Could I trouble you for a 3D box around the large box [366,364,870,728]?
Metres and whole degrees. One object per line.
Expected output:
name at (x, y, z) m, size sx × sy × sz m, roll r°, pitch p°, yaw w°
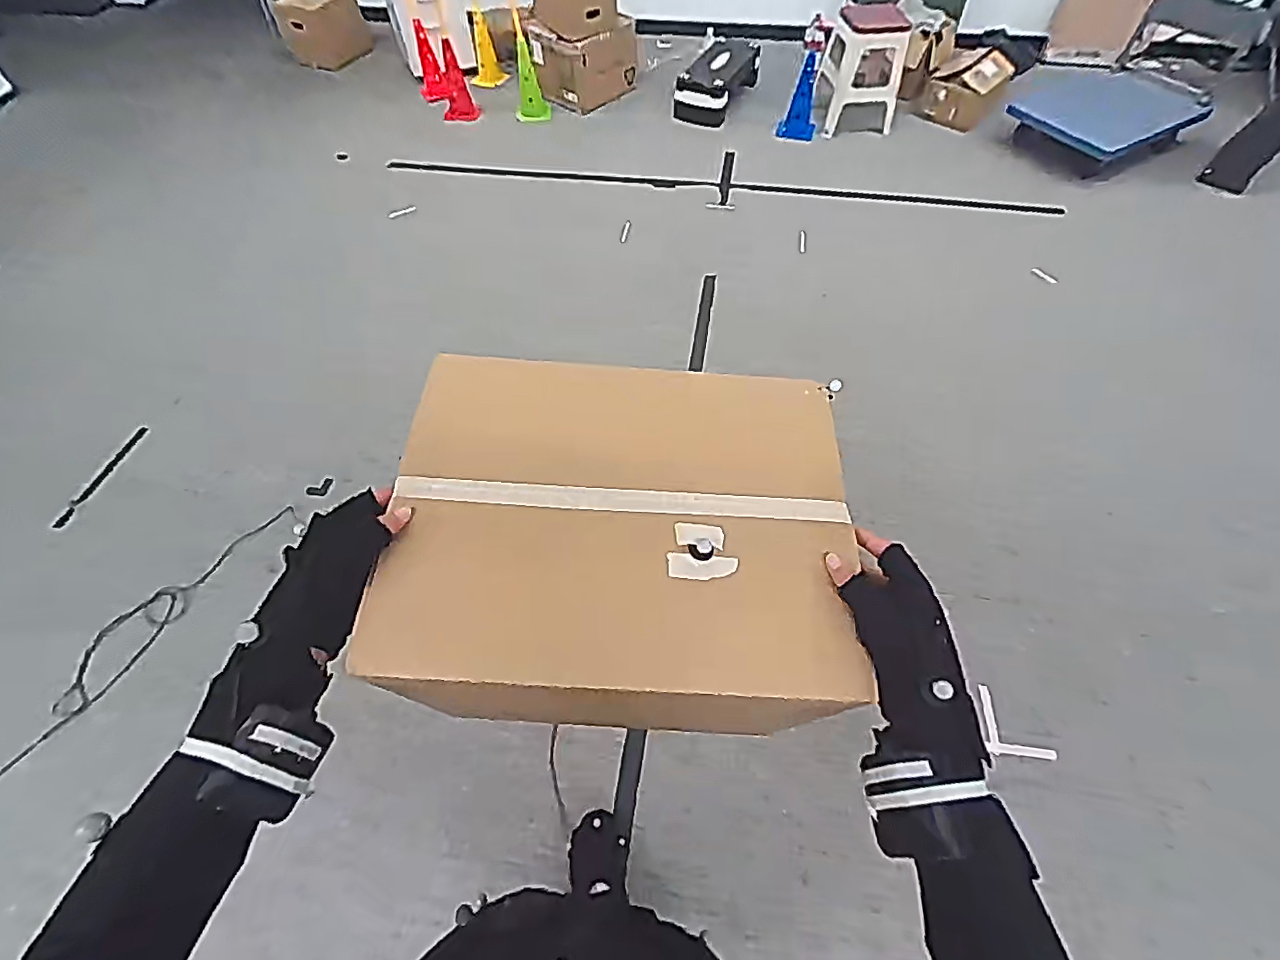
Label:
large box at (-0.021, 0.096, 0.620) m, size 0.408 × 0.320 × 0.320 m, roll 4°, pitch 61°, yaw -2°
